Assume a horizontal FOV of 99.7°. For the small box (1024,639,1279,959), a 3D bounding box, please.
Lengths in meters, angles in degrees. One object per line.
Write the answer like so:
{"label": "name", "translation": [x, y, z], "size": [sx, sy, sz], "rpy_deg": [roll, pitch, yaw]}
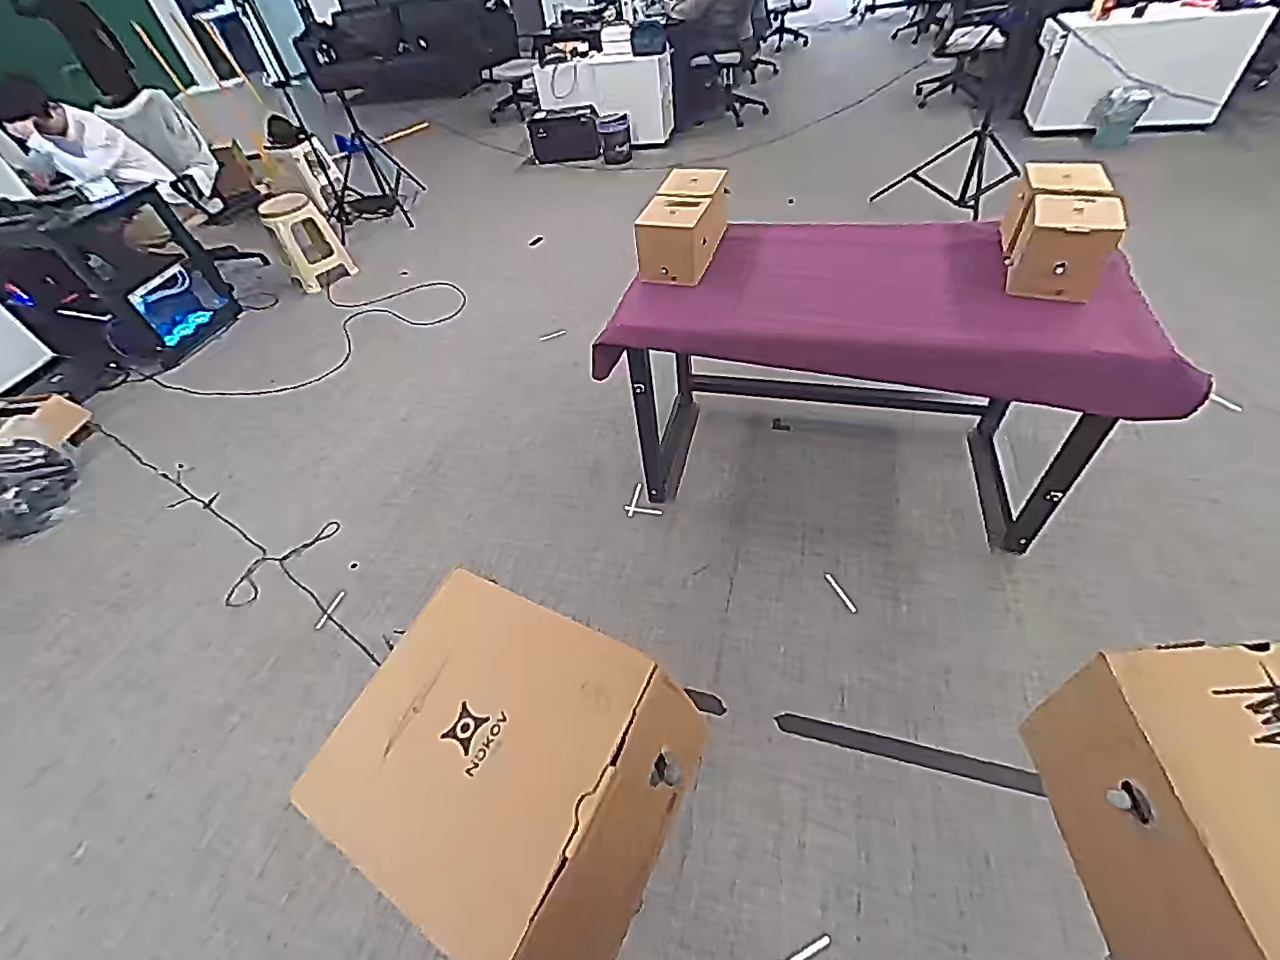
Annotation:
{"label": "small box", "translation": [0.377, 0.214, 0.329], "size": [0.168, 0.176, 0.179], "rpy_deg": [-9, 50, 10]}

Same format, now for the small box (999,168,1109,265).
{"label": "small box", "translation": [1.038, -0.671, 1.375], "size": [0.168, 0.176, 0.179], "rpy_deg": [11, 50, 17]}

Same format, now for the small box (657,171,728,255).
{"label": "small box", "translation": [0.159, -0.796, 1.610], "size": [0.168, 0.176, 0.179], "rpy_deg": [11, 52, 18]}

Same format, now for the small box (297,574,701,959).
{"label": "small box", "translation": [-0.075, 0.196, 0.377], "size": [0.179, 0.176, 0.168], "rpy_deg": [15, 59, 29]}
